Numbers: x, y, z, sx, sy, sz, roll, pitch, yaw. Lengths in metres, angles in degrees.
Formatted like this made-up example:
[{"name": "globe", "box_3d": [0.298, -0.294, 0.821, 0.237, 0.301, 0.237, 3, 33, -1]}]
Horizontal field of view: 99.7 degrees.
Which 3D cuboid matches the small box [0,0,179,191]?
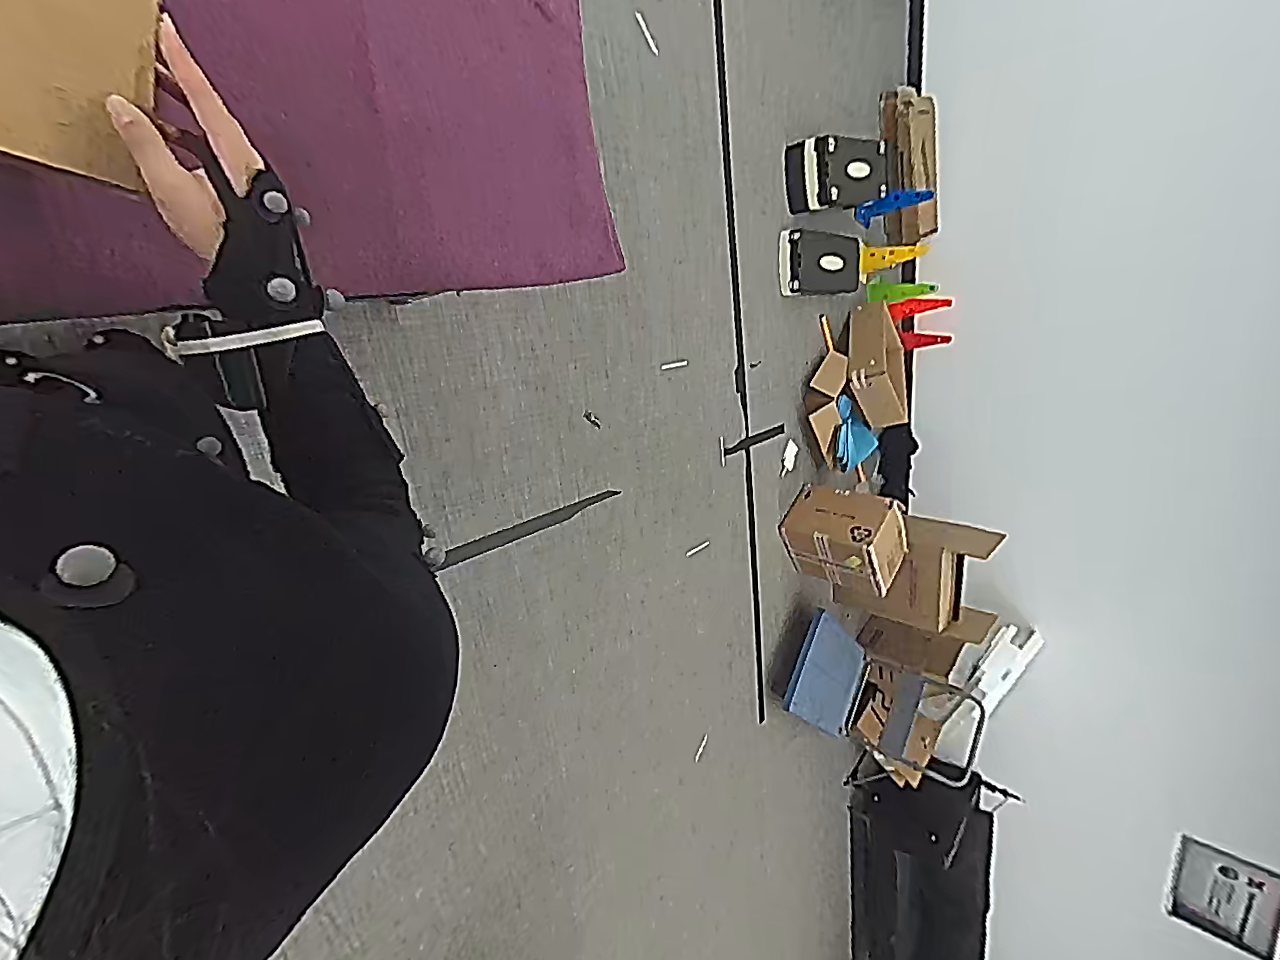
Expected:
[{"name": "small box", "box_3d": [-0.385, -0.289, 0.310, 0.168, 0.176, 0.179, 1, 109, -47]}]
